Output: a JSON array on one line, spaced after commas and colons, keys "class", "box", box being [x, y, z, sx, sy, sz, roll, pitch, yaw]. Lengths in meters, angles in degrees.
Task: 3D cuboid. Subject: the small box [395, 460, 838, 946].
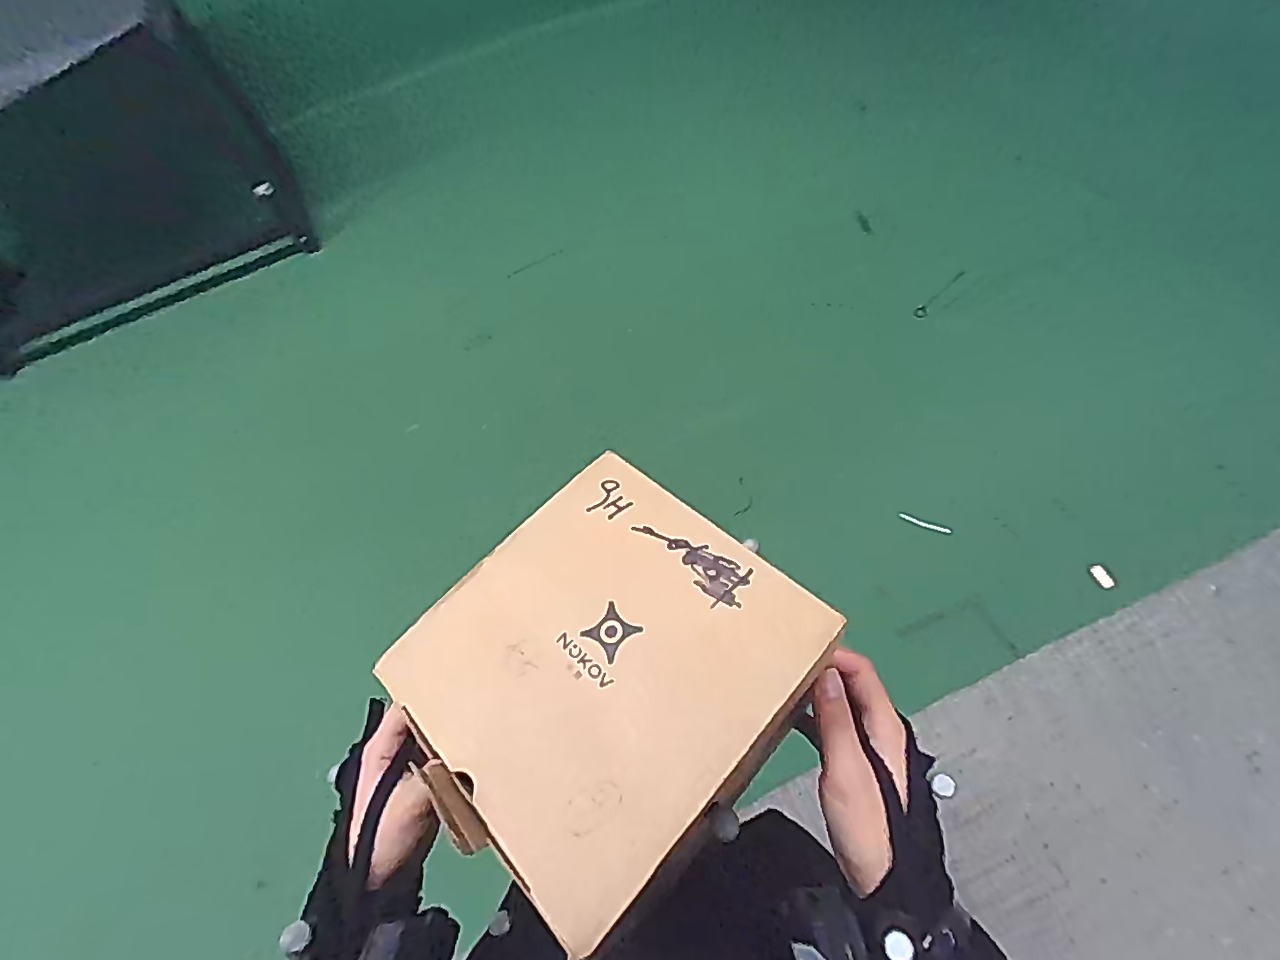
[{"class": "small box", "box": [-0.003, 0.128, 0.338, 0.168, 0.176, 0.179, 36, 70, 29]}]
